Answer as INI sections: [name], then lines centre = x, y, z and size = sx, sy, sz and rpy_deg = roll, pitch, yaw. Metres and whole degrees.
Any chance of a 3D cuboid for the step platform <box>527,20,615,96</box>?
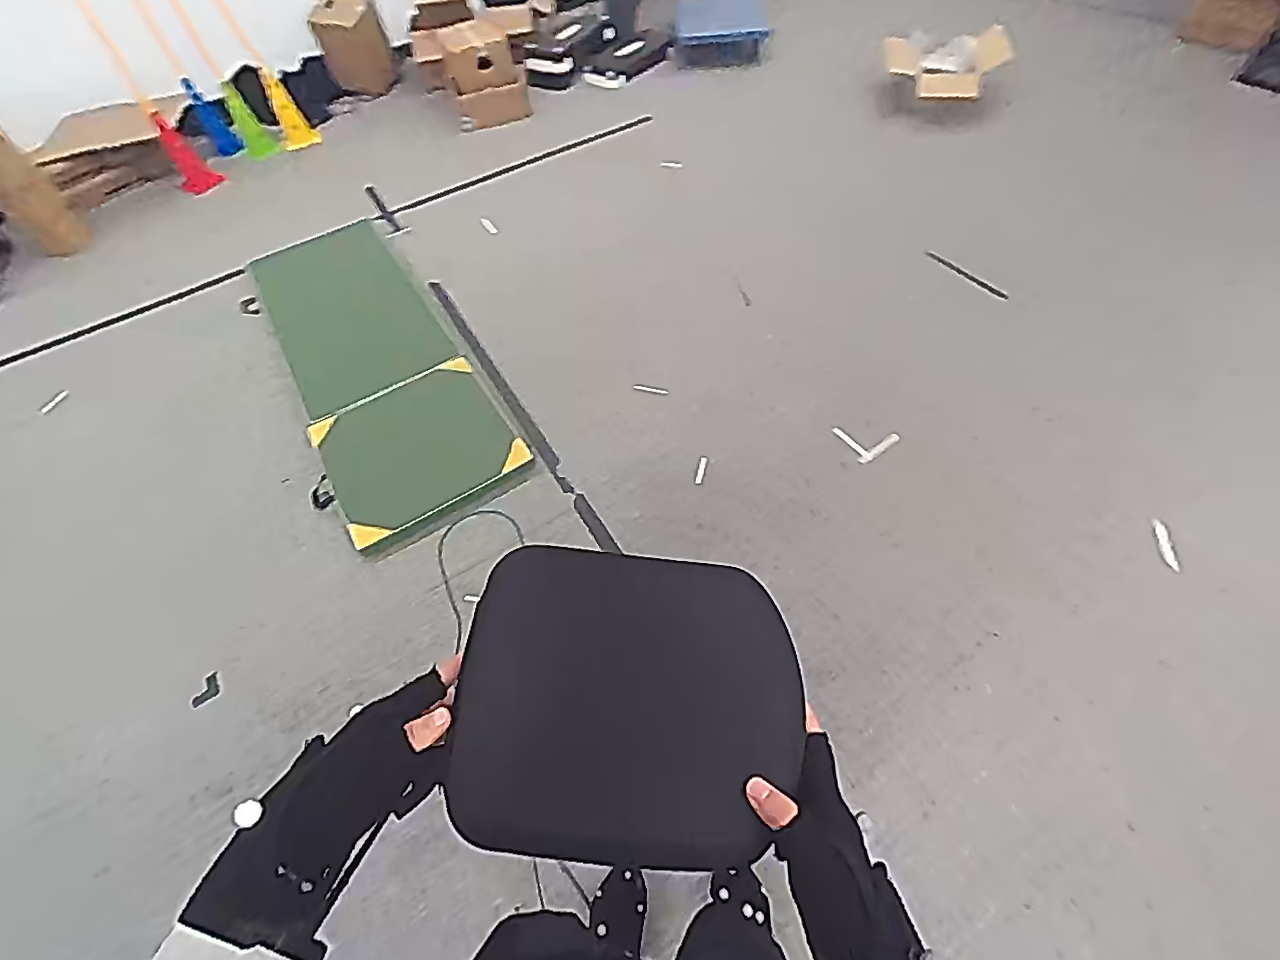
[step platform]
centre = -0.442, -2.761, 3.524
size = 0.286, 0.204, 0.684
rpy_deg = 22, 61, 17
